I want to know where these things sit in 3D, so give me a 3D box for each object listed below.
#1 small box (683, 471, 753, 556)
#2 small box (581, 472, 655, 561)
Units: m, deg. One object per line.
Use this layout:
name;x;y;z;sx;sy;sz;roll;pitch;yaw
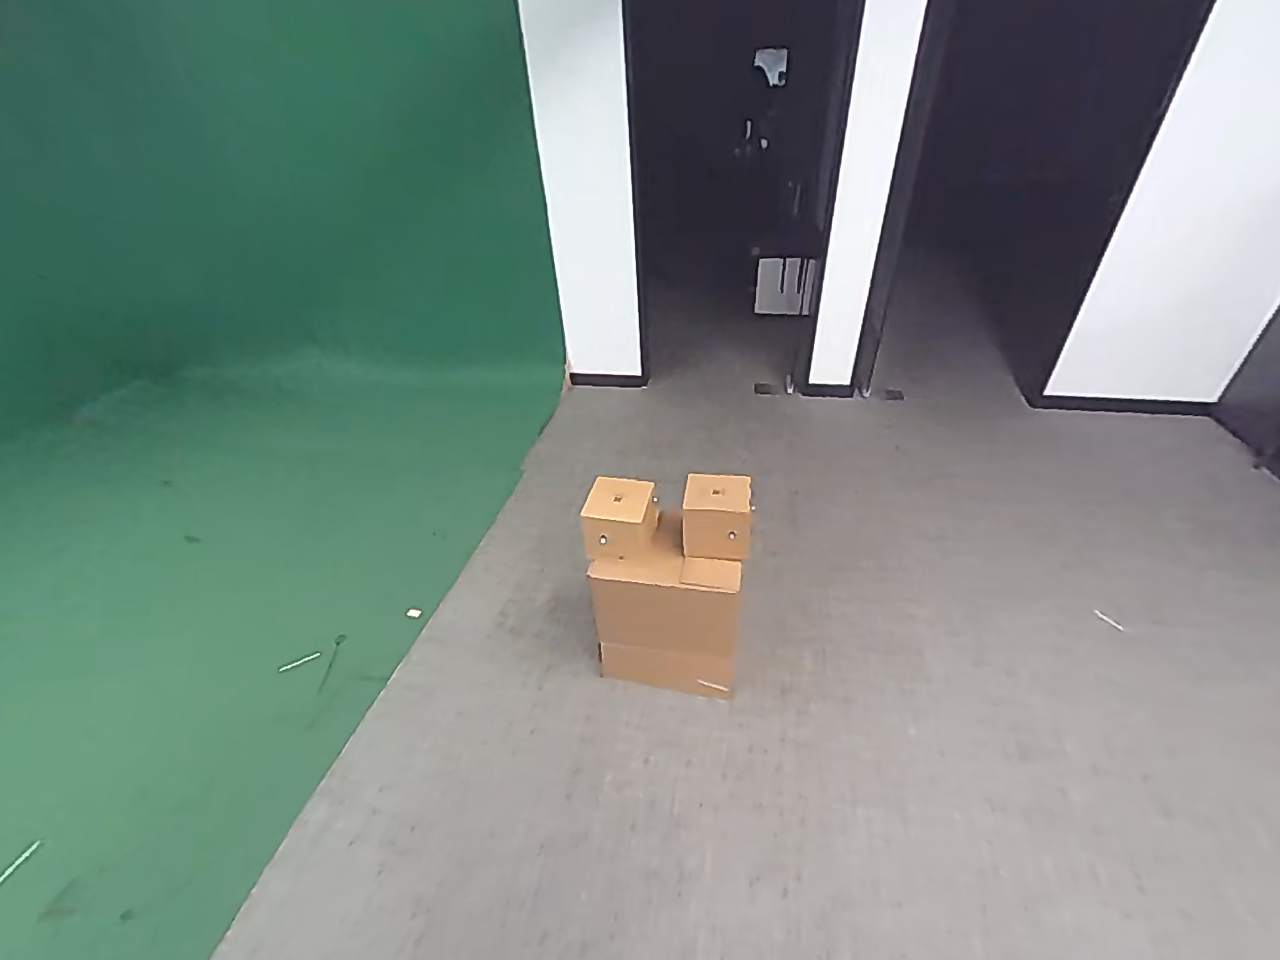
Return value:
small box;0.216;0.093;1.493;0.179;0.176;0.168;4;36;11
small box;-0.054;0.103;1.497;0.168;0.176;0.179;7;39;11
